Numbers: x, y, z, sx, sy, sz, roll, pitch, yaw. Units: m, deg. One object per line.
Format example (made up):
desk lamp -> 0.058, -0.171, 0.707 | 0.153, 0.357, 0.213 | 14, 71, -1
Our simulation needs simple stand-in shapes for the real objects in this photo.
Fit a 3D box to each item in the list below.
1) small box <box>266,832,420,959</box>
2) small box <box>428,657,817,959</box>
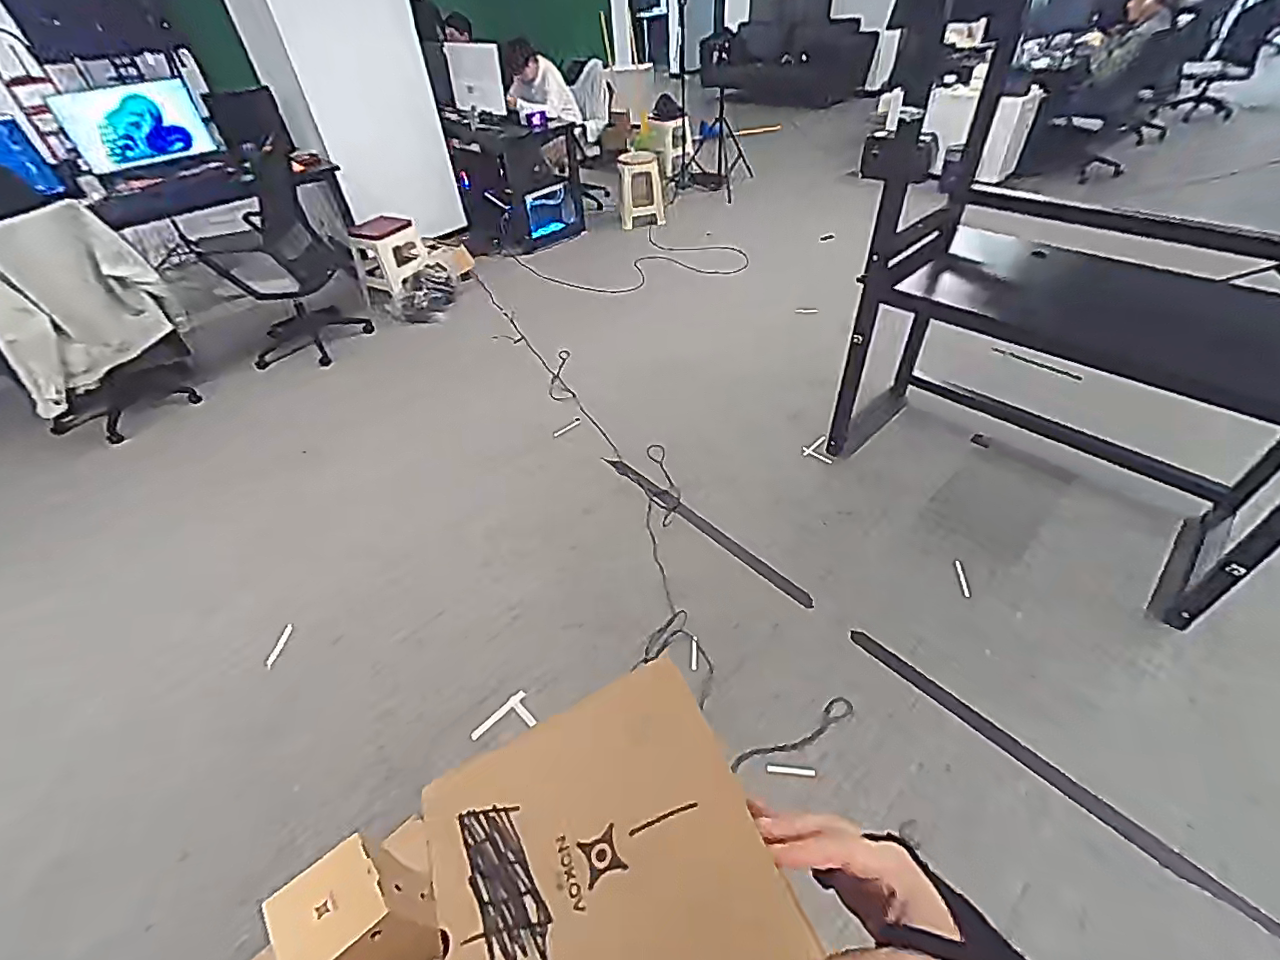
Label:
small box -> -0.544, 0.811, 1.003 | 0.179, 0.176, 0.168 | -31, 49, -26
small box -> -0.006, 0.253, 0.344 | 0.179, 0.176, 0.168 | -27, 46, -4
